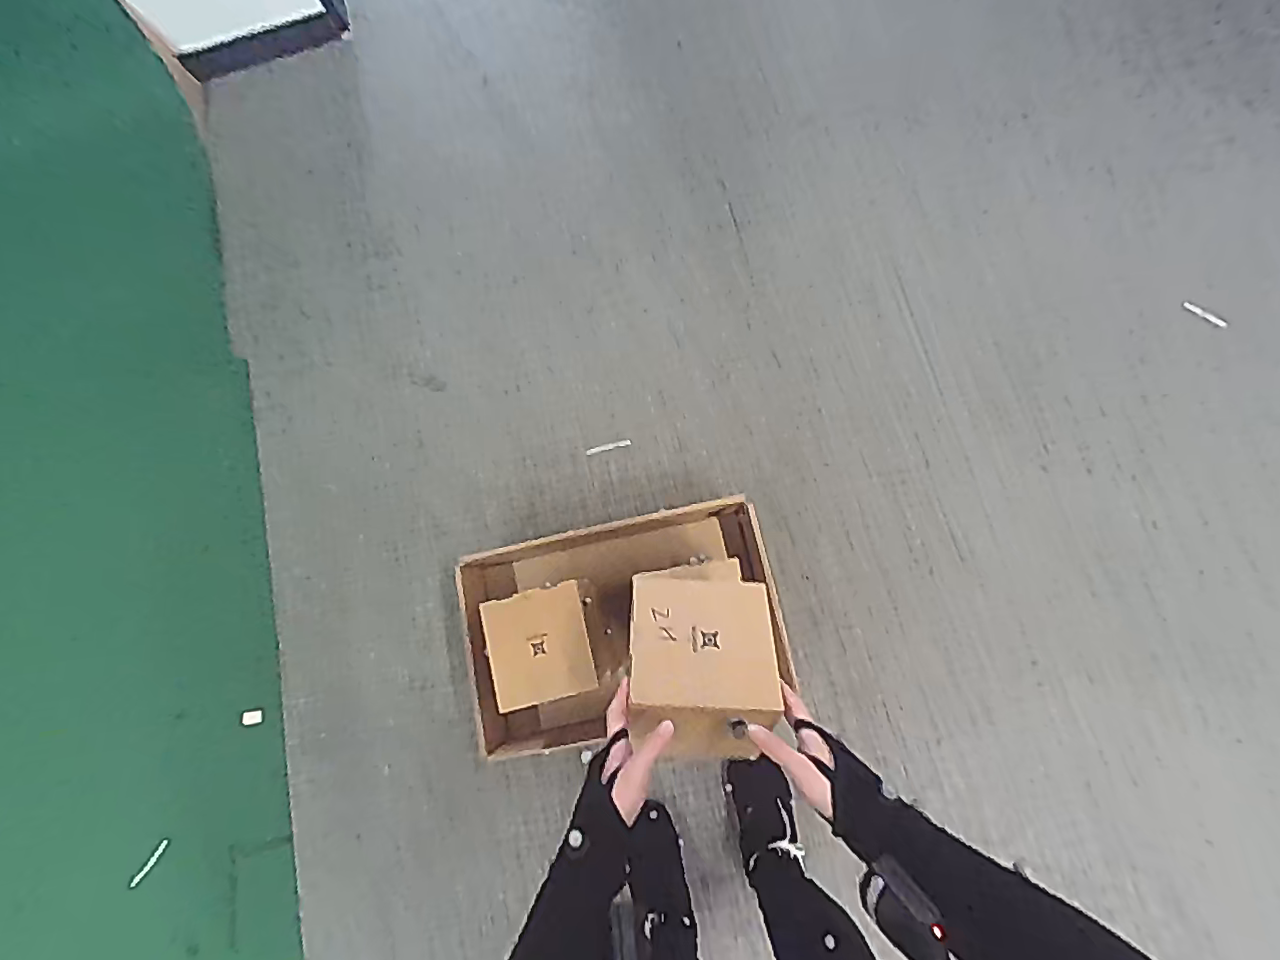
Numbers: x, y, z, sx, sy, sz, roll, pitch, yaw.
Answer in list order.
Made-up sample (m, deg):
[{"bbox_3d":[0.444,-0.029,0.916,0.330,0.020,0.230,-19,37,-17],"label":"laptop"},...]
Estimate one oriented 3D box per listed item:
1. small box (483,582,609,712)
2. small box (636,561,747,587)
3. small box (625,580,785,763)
[{"bbox_3d":[-0.156,0.282,0.950,0.168,0.176,0.179,-14,78,0],"label":"small box"},{"bbox_3d":[0.096,0.233,0.933,0.179,0.176,0.168,-10,79,3],"label":"small box"},{"bbox_3d":[0.073,0.250,0.701,0.179,0.176,0.168,3,43,0],"label":"small box"}]
